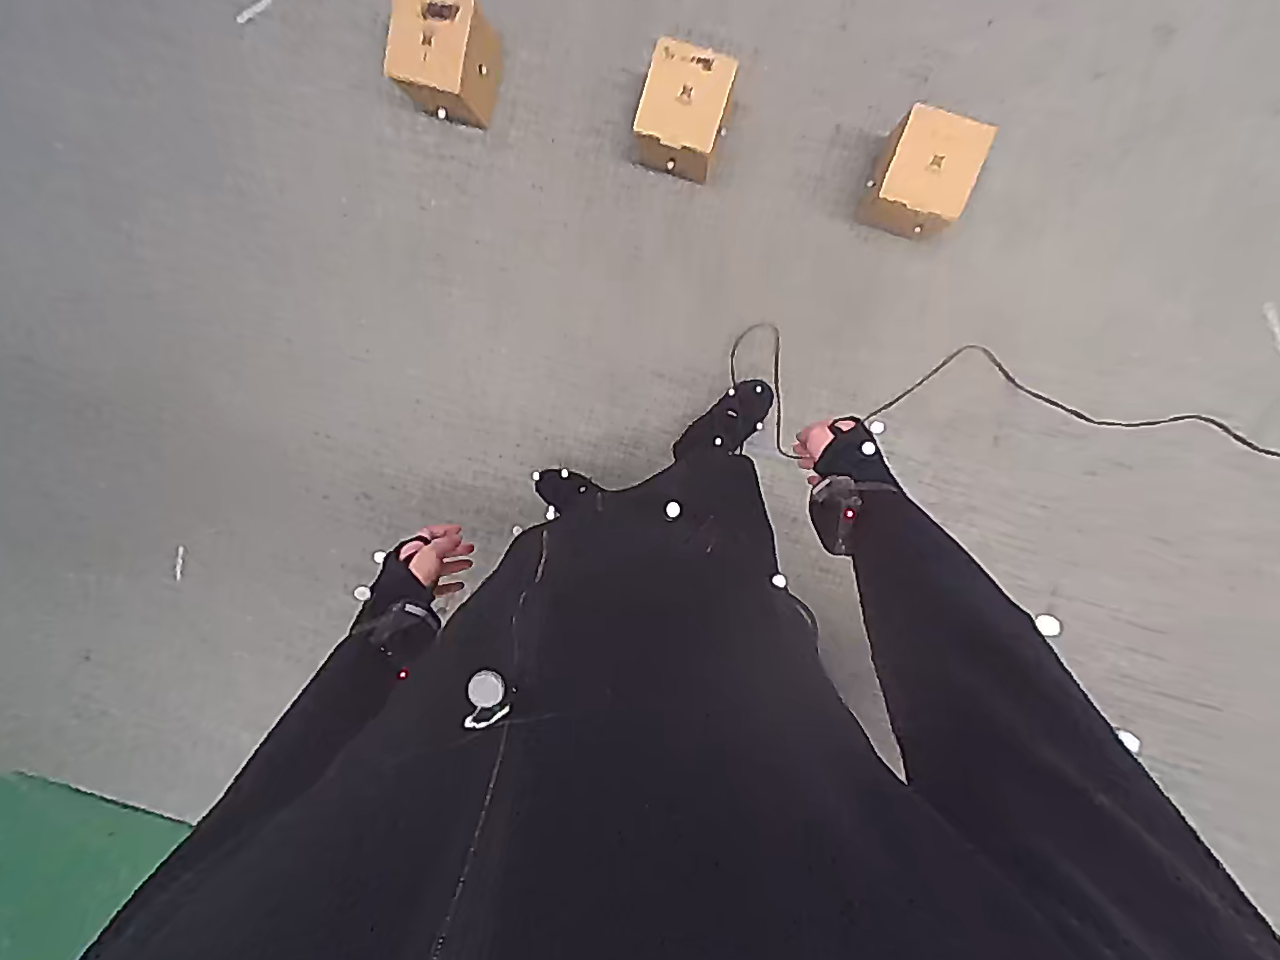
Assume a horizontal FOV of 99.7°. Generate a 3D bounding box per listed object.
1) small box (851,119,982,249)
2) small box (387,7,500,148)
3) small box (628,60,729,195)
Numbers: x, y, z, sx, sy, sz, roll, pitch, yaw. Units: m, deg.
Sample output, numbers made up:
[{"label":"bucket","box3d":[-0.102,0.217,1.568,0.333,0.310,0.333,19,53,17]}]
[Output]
[{"label":"small box","box3d":[0.567,-0.609,1.139,0.168,0.176,0.179,17,101,2]},{"label":"small box","box3d":[-0.422,-0.870,1.186,0.168,0.176,0.179,15,103,3]},{"label":"small box","box3d":[0.085,-0.743,1.162,0.168,0.176,0.179,18,102,2]}]
